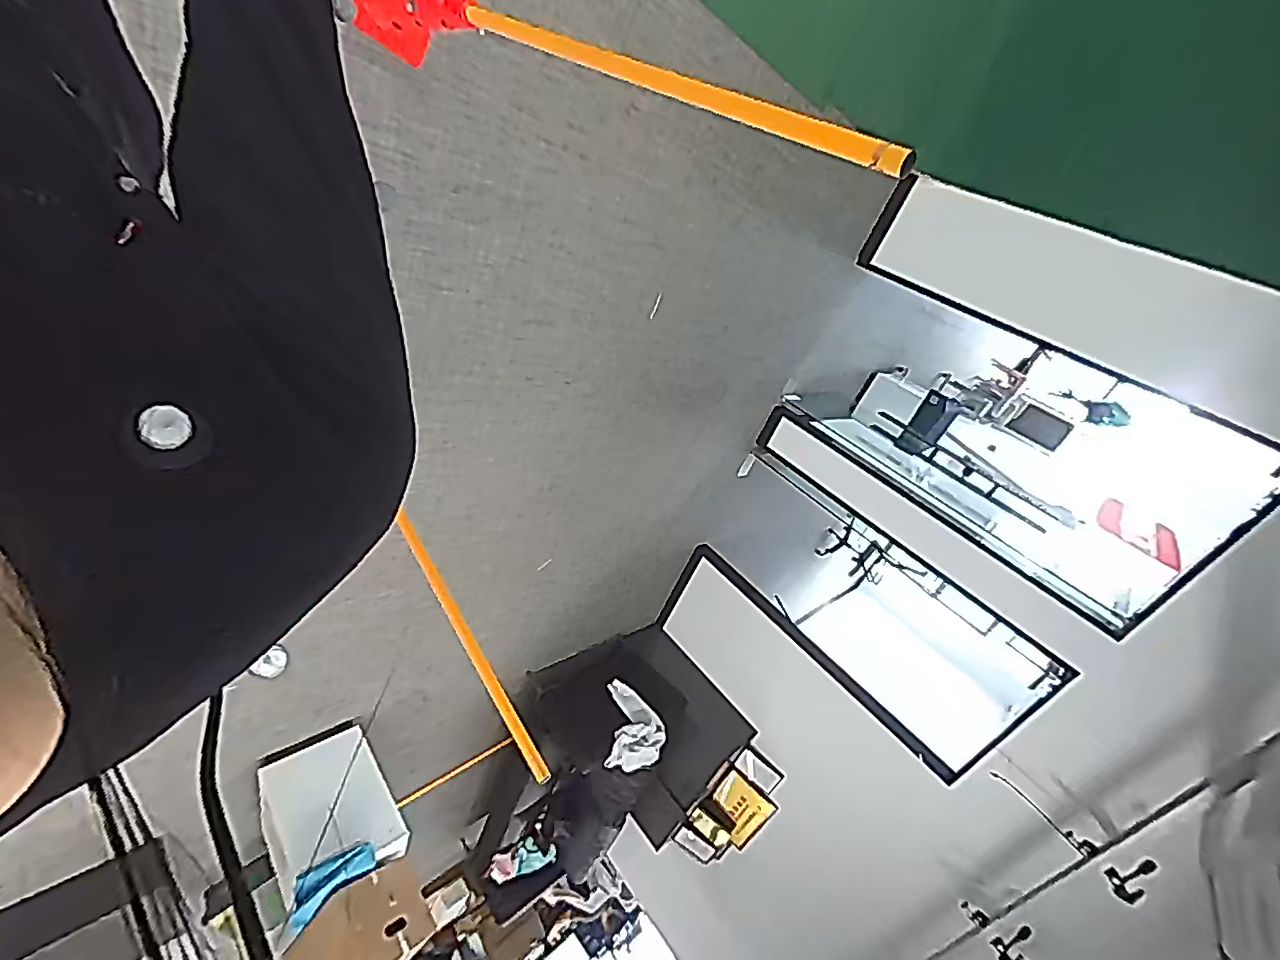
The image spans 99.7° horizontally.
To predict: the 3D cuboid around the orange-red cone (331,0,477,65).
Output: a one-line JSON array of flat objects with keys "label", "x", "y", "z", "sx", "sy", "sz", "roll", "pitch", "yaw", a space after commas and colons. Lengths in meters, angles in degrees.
[{"label": "orange-red cone", "x": -0.405, "y": -0.904, "z": 1.022, "sx": 0.198, "sy": 0.360, "sz": 0.199, "roll": 7, "pitch": 121, "yaw": -53}]
